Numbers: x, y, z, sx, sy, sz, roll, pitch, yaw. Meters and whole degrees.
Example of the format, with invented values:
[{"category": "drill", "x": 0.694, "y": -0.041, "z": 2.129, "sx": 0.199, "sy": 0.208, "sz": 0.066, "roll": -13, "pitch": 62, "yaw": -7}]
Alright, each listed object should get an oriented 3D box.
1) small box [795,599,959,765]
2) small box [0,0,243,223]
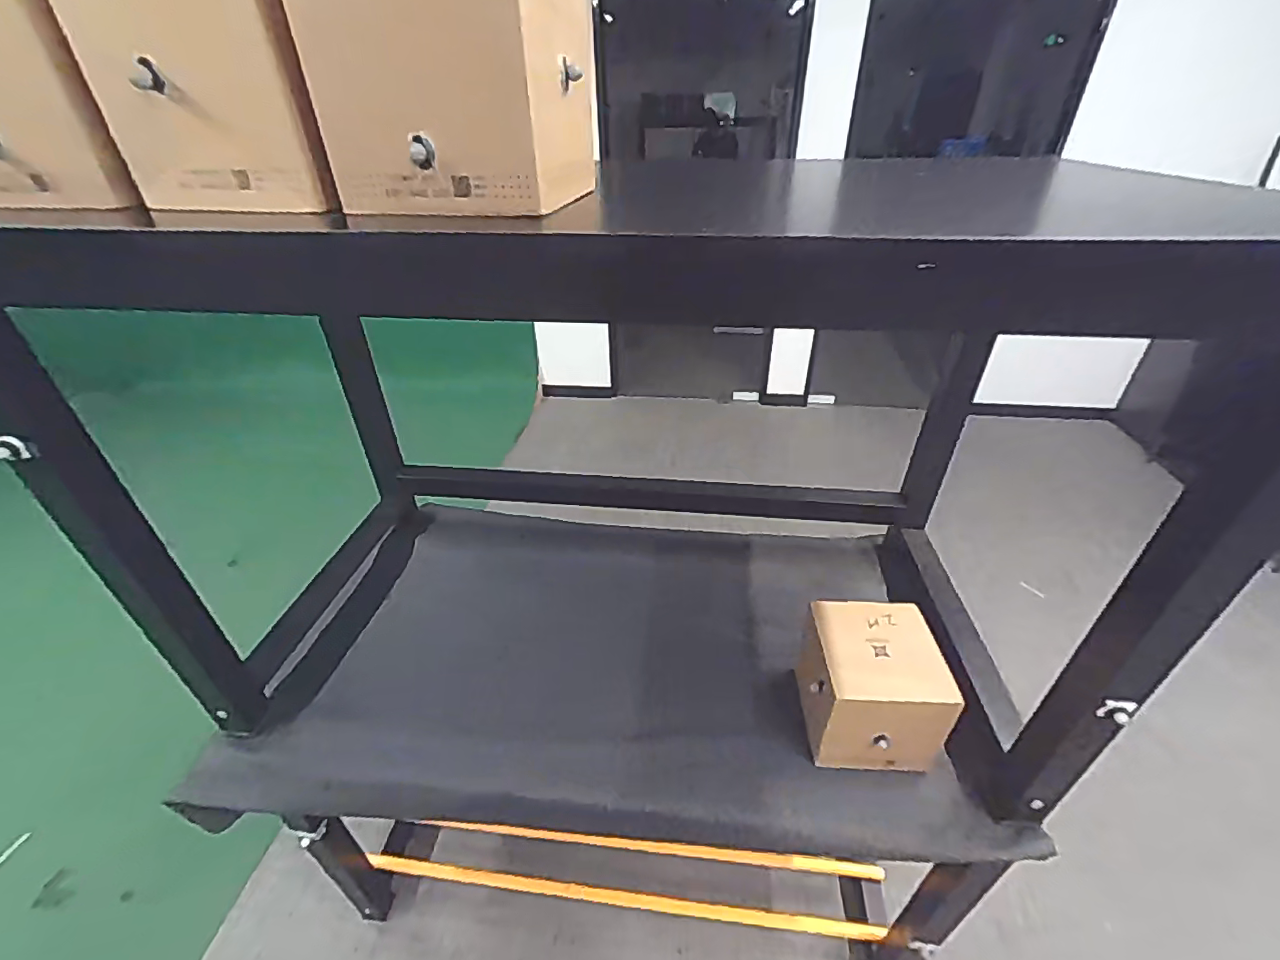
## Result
[{"category": "small box", "x": 0.342, "y": 0.304, "z": 0.818, "sx": 0.168, "sy": 0.176, "sz": 0.179, "roll": 1, "pitch": 34, "yaw": 3}, {"category": "small box", "x": -0.507, "y": -0.342, "z": 0.488, "sx": 0.168, "sy": 0.176, "sz": 0.179, "roll": 3, "pitch": 36, "yaw": 5}]
